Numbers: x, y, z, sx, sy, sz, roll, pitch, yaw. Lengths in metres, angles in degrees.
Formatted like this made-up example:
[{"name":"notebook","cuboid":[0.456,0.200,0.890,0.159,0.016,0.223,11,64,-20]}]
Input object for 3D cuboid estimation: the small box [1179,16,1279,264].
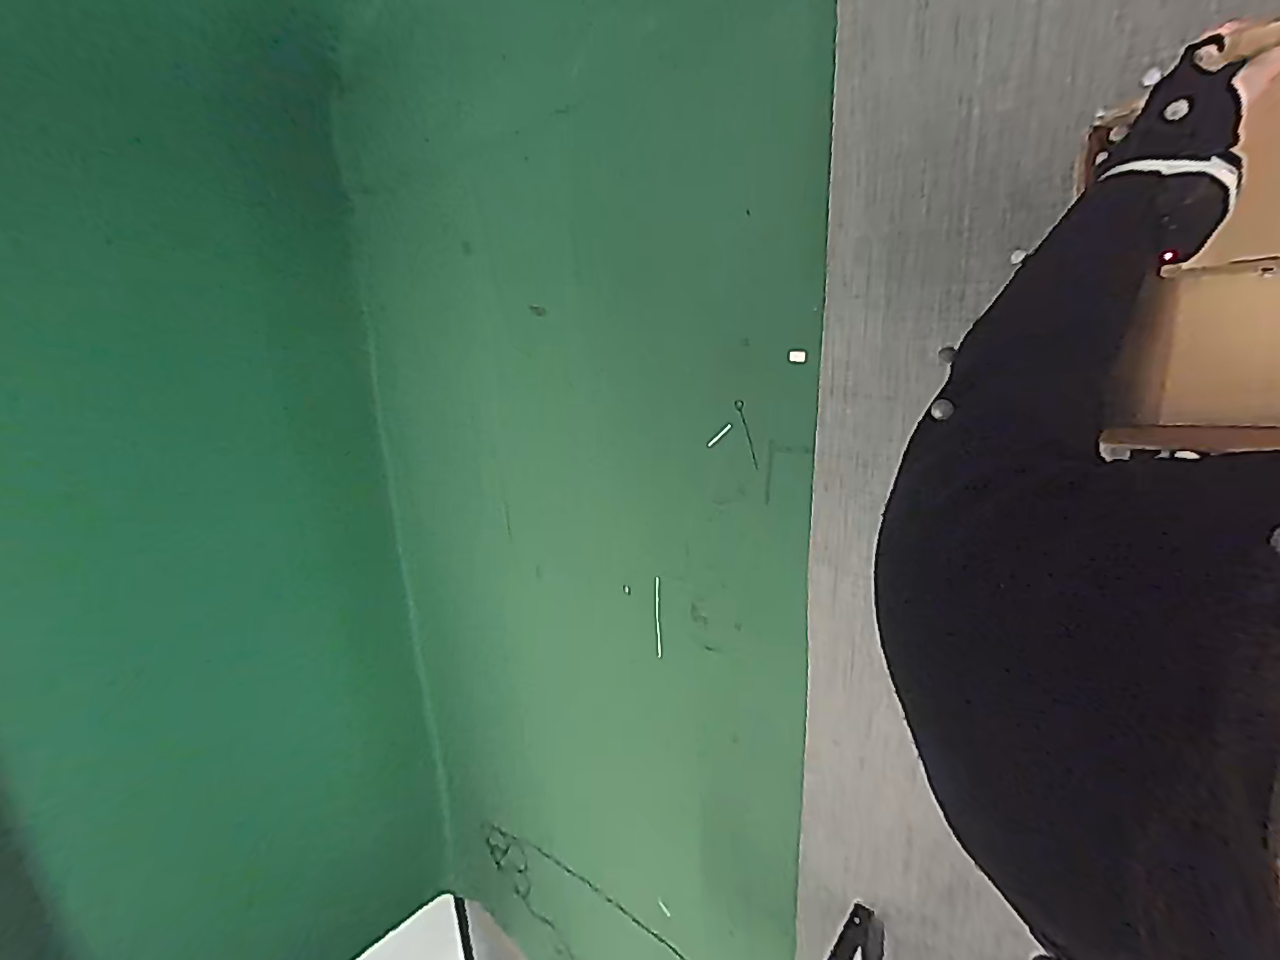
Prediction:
[{"name":"small box","cuboid":[0.585,-0.284,0.455,0.168,0.176,0.179,10,111,41]}]
